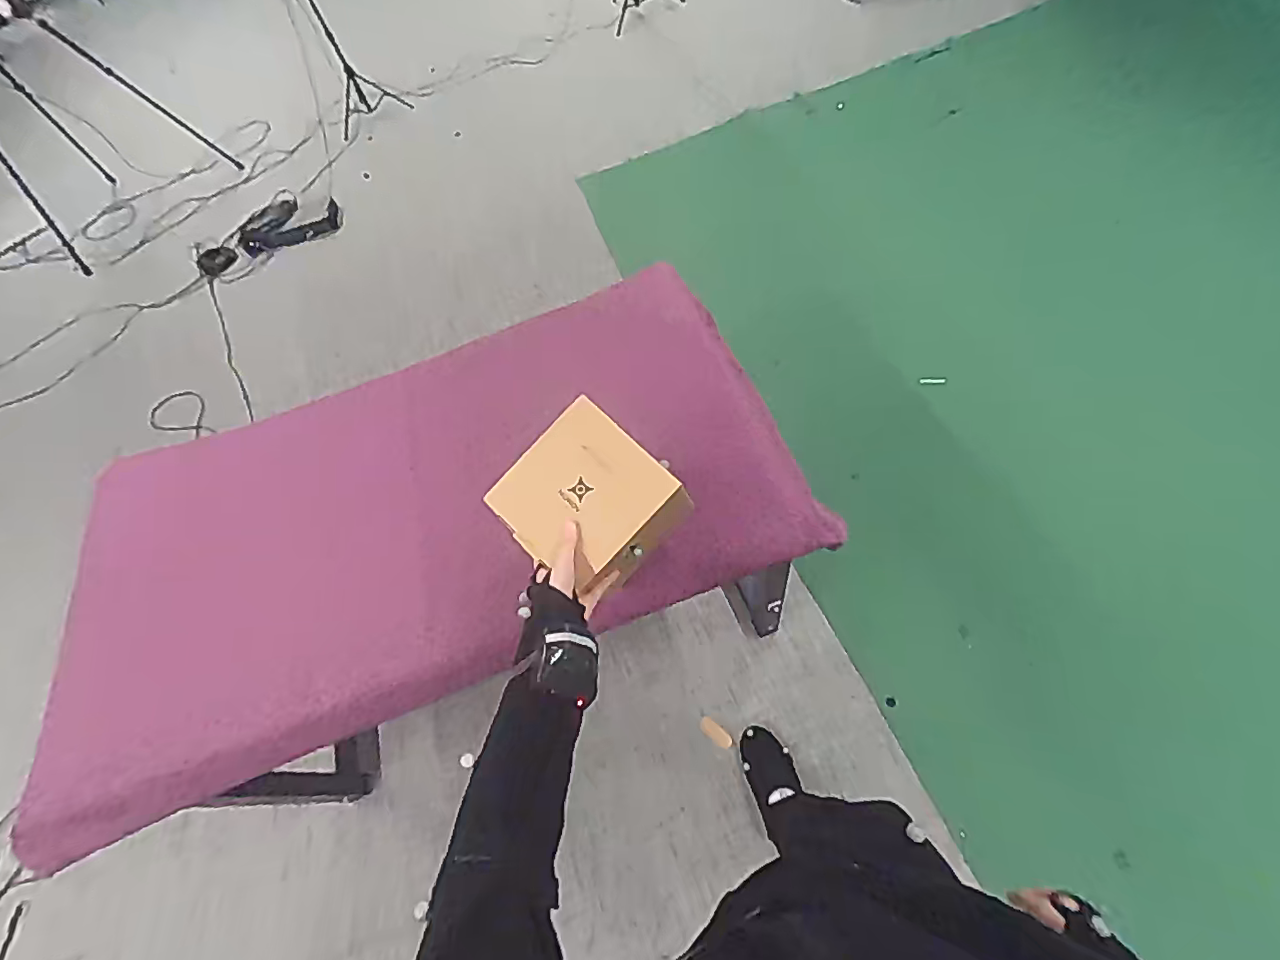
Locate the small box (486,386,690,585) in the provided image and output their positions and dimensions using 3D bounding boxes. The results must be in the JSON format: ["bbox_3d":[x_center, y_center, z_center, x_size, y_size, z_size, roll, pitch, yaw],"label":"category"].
[{"bbox_3d":[-0.053,0.019,0.692,0.179,0.176,0.168,-45,73,-1],"label":"small box"}]
